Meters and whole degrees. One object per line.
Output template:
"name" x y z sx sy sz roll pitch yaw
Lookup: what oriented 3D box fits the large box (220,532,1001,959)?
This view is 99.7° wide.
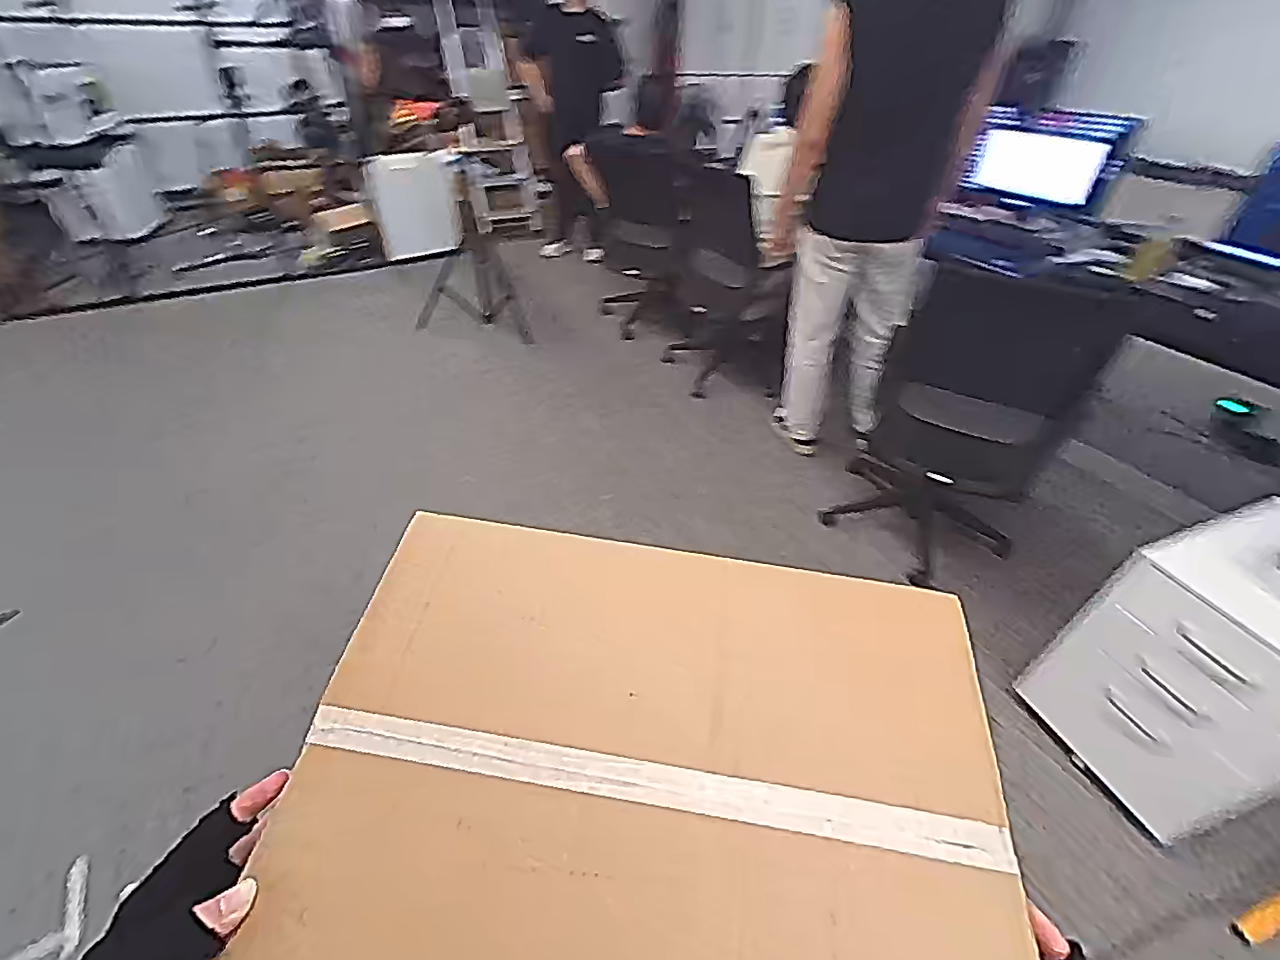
"large box" -0.007 0.271 0.443 0.408 0.320 0.320 7 54 3
